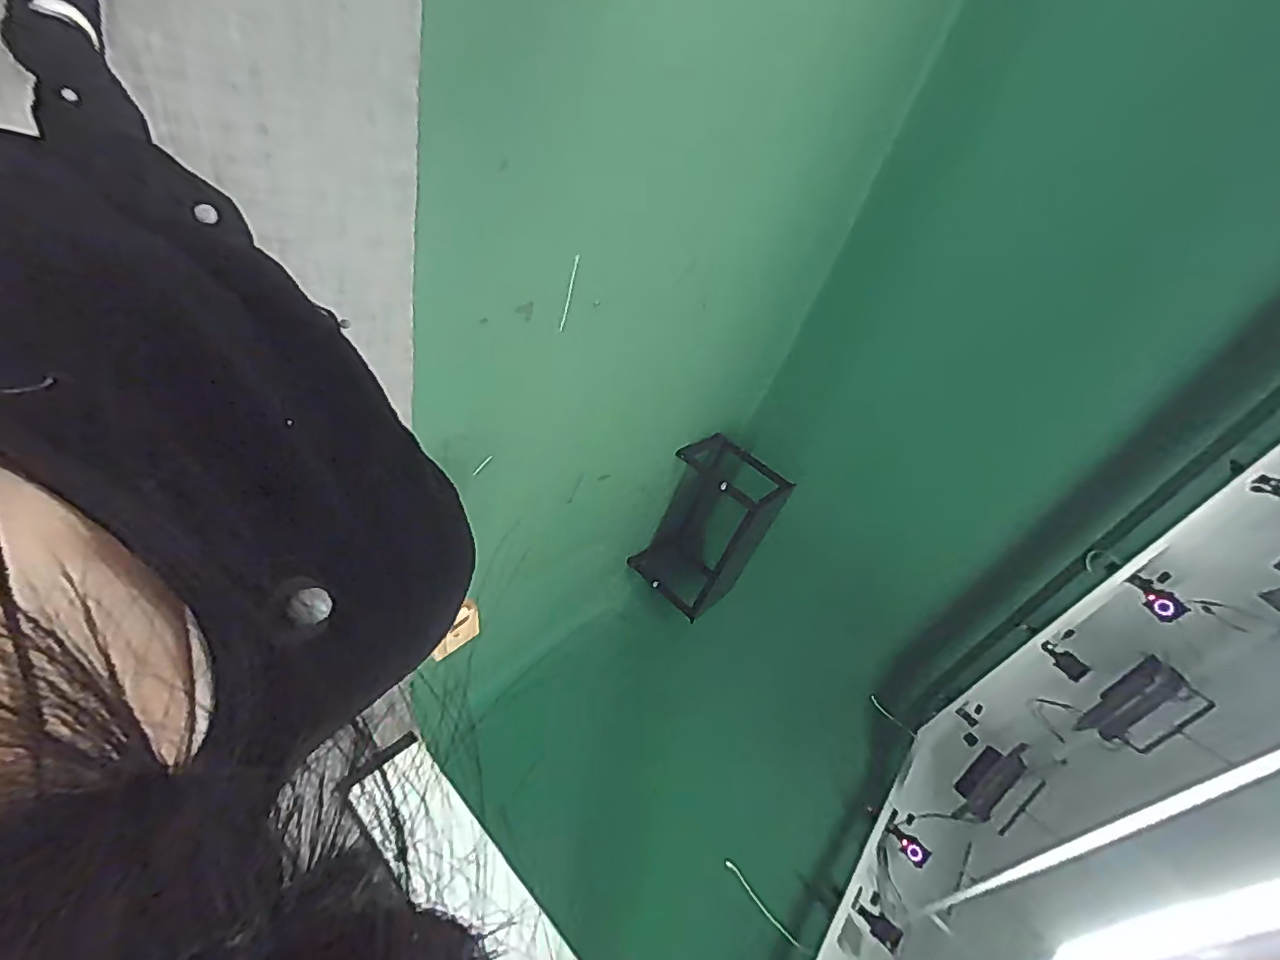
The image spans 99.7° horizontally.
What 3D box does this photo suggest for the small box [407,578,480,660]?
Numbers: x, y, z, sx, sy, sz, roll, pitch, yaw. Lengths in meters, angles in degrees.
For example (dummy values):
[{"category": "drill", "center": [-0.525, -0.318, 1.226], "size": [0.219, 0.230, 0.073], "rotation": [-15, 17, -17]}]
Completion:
[{"category": "small box", "center": [-0.652, 0.451, 1.792], "size": [0.168, 0.176, 0.179], "rotation": [-32, 149, -36]}]
